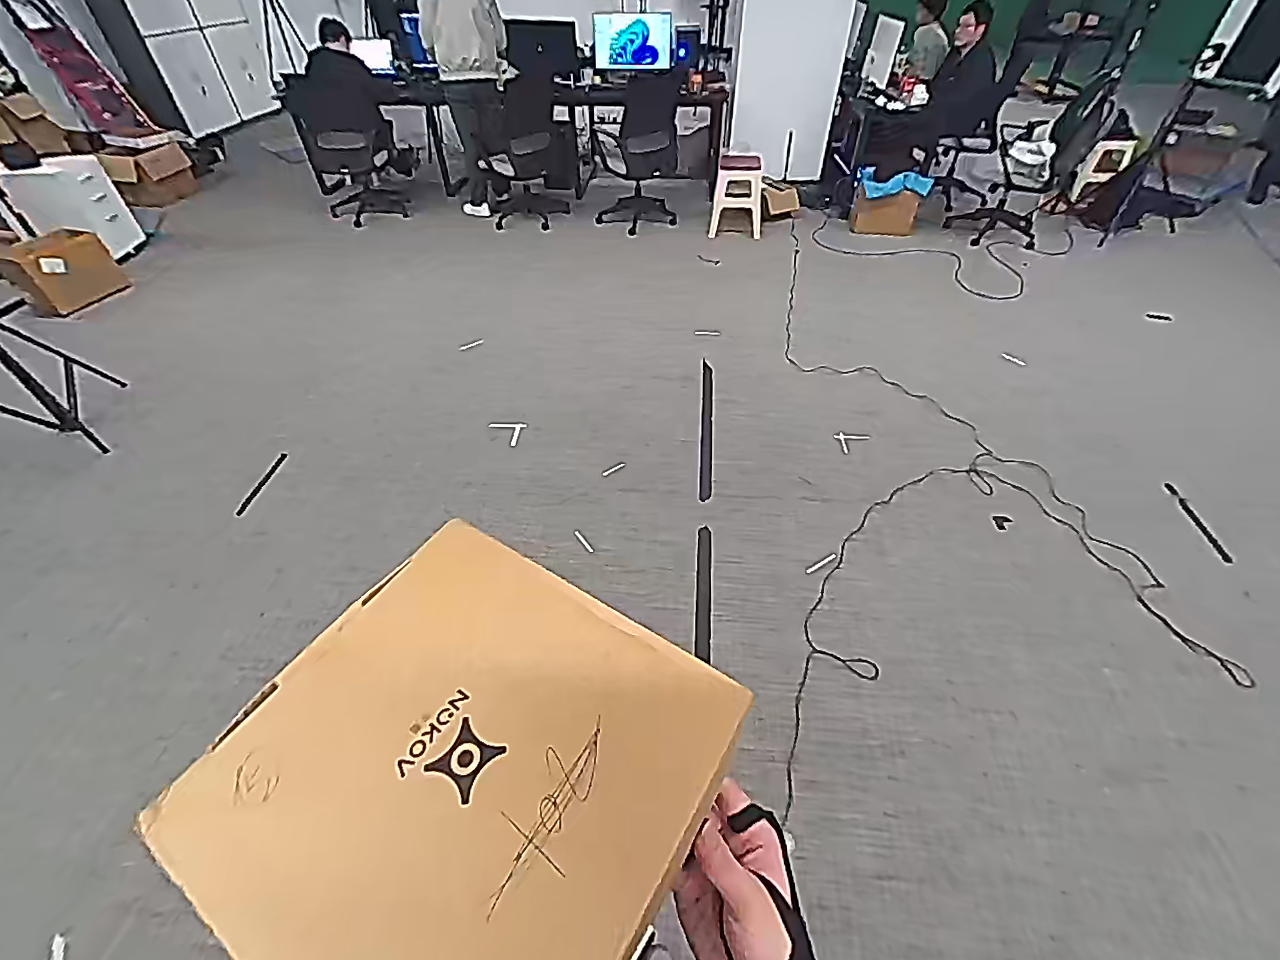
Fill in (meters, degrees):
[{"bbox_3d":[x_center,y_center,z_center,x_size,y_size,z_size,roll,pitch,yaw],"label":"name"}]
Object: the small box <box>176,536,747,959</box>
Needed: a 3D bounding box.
[{"bbox_3d":[-0.065,0.166,0.282,0.179,0.176,0.168,24,55,21],"label":"small box"}]
